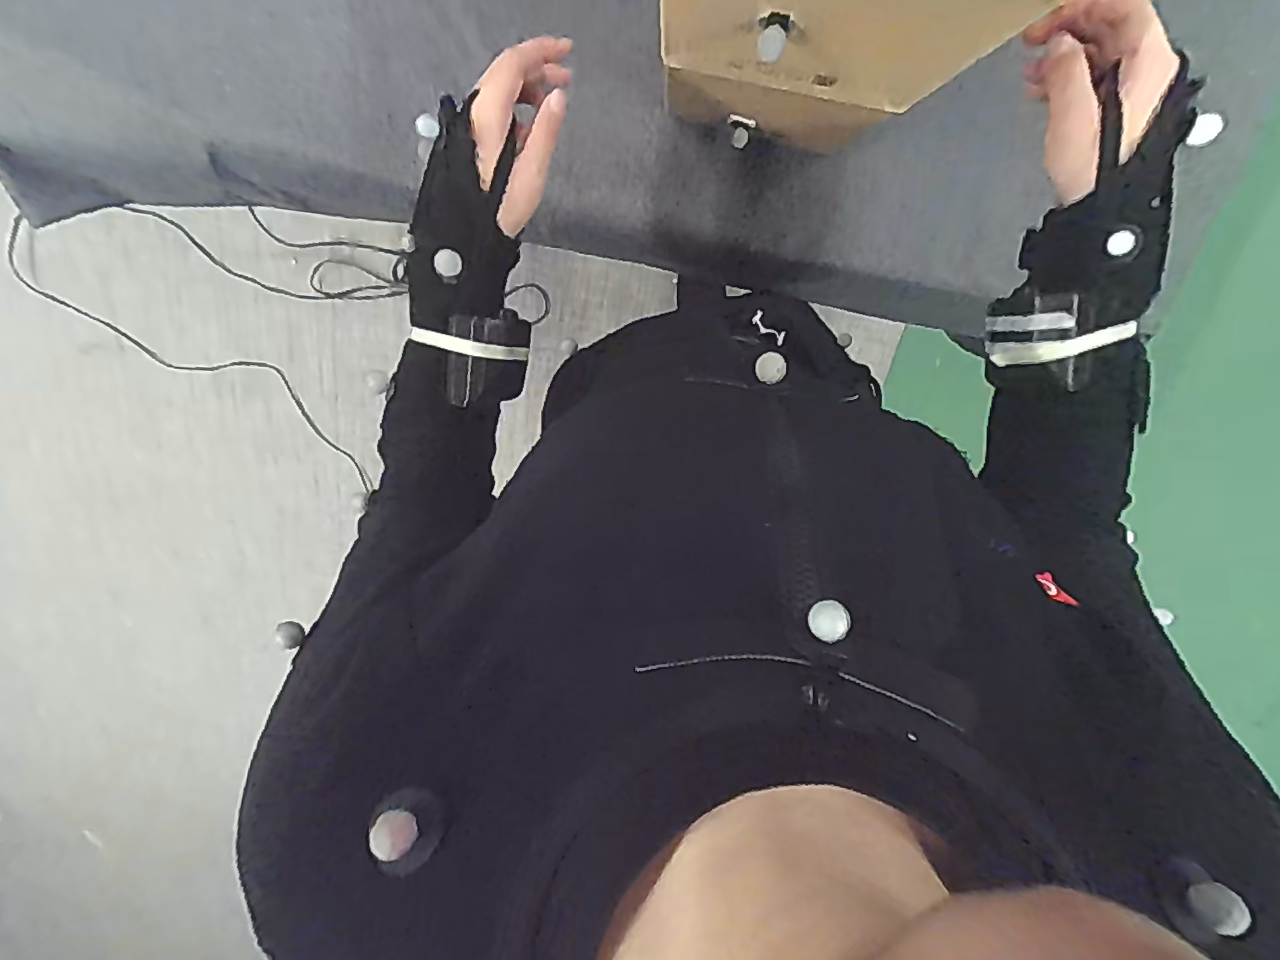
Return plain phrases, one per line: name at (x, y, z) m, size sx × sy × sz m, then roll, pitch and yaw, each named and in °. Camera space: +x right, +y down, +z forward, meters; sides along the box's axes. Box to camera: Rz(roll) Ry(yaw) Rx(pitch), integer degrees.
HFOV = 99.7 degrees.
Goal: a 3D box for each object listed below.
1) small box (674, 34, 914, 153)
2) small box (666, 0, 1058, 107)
small box at (0.121, -0.368, 0.397) m, size 0.168 × 0.176 × 0.179 m, roll 12°, pitch 112°, yaw -1°
small box at (0.107, -0.303, 0.248) m, size 0.168 × 0.176 × 0.179 m, roll 11°, pitch 110°, yaw 0°
